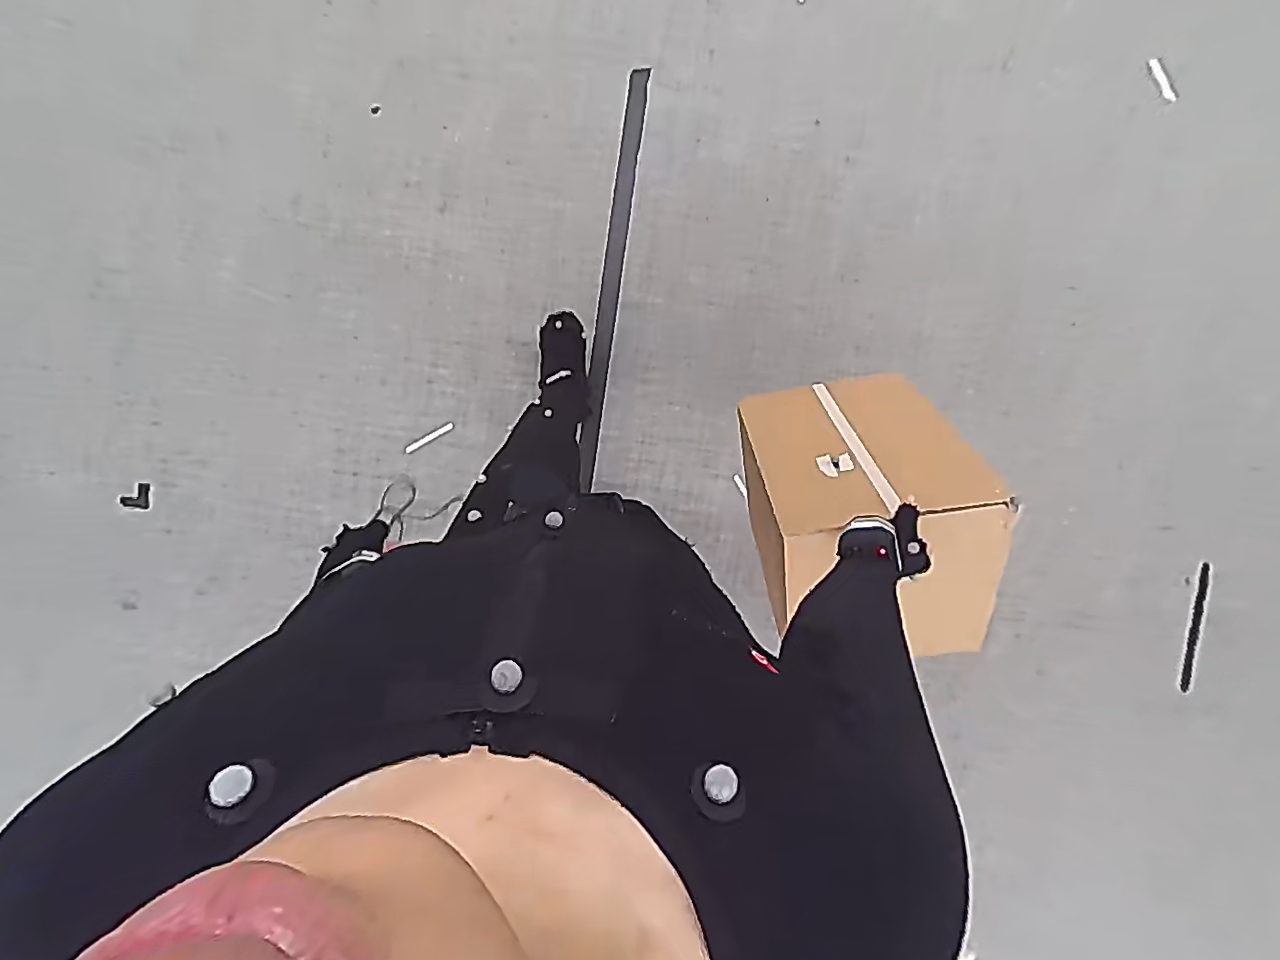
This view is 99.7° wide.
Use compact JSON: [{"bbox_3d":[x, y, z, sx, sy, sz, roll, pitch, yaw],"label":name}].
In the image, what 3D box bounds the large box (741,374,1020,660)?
[{"bbox_3d":[0.382,0.054,0.984,0.320,0.408,0.320,-10,127,6],"label":"large box"}]
